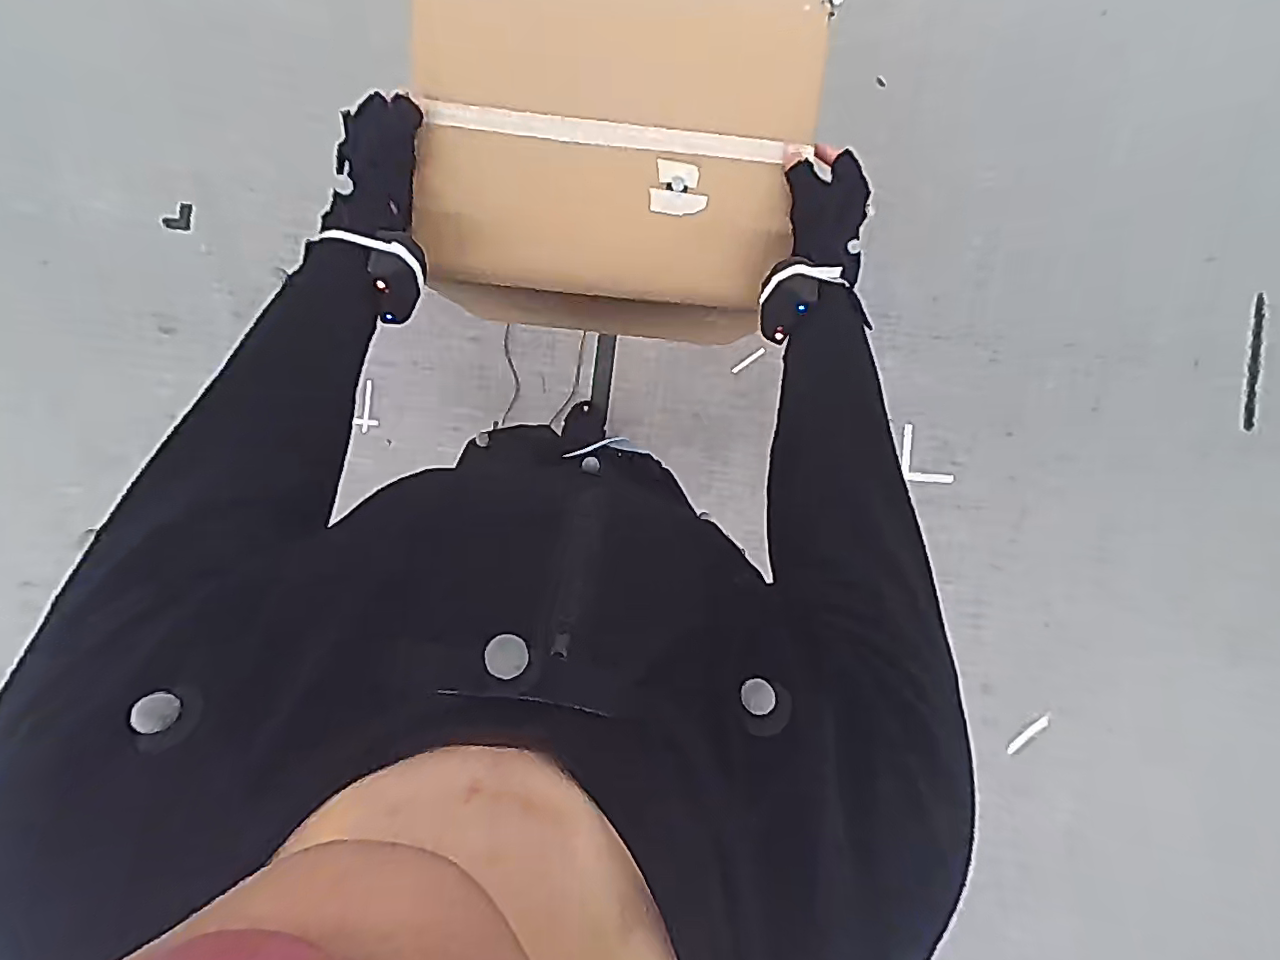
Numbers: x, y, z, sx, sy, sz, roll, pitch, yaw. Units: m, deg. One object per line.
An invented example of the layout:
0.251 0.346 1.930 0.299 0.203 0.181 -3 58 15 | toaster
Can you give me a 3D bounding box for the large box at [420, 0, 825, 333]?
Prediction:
-0.031 -0.381 0.699 0.408 0.320 0.320 5 99 -4 | large box
